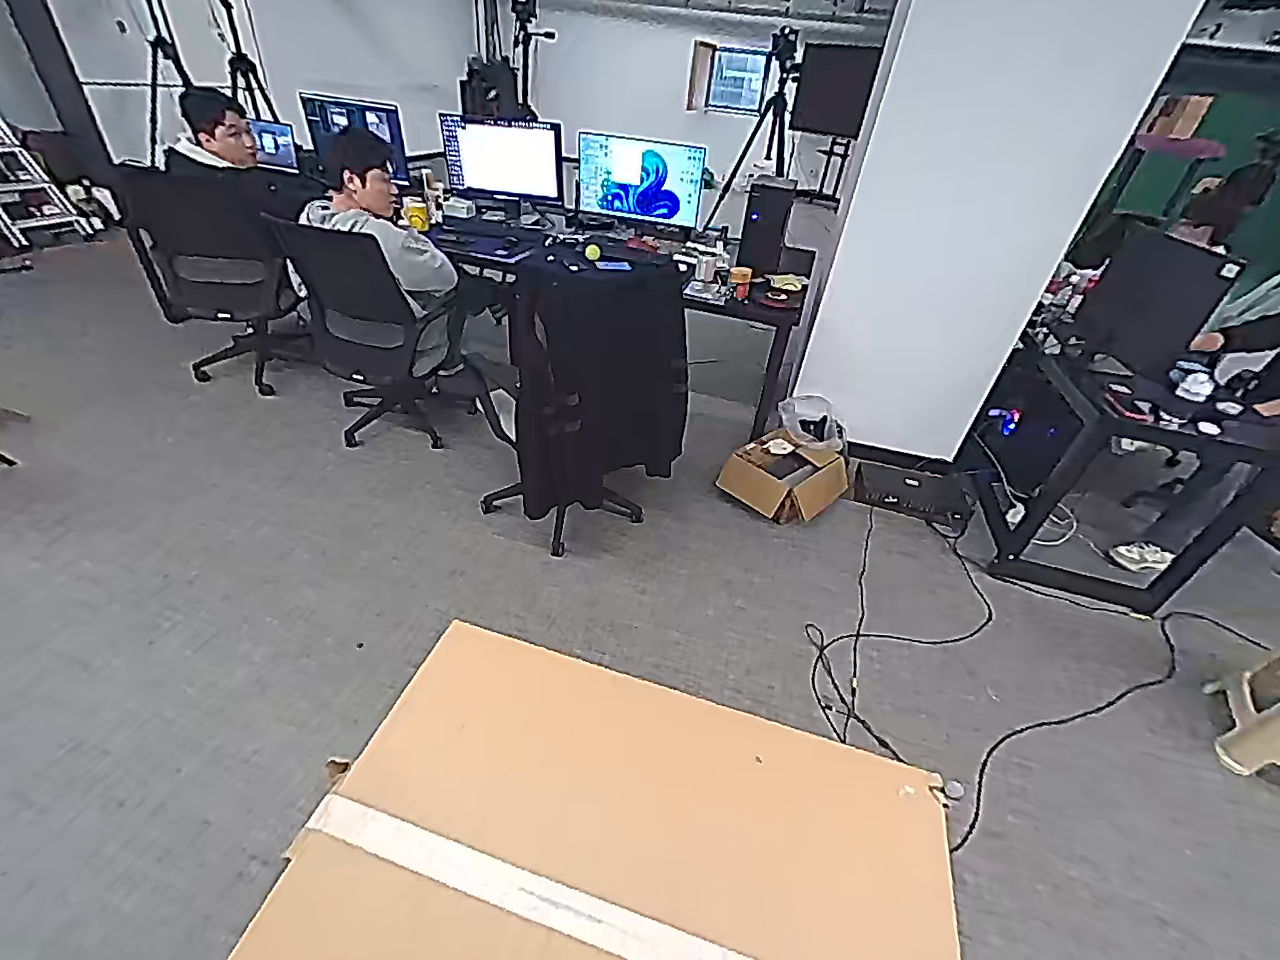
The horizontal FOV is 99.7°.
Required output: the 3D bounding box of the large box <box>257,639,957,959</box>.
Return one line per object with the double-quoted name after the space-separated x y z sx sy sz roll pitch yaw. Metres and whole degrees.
-0.023 0.388 0.428 0.408 0.320 0.320 15 43 9 "large box"
